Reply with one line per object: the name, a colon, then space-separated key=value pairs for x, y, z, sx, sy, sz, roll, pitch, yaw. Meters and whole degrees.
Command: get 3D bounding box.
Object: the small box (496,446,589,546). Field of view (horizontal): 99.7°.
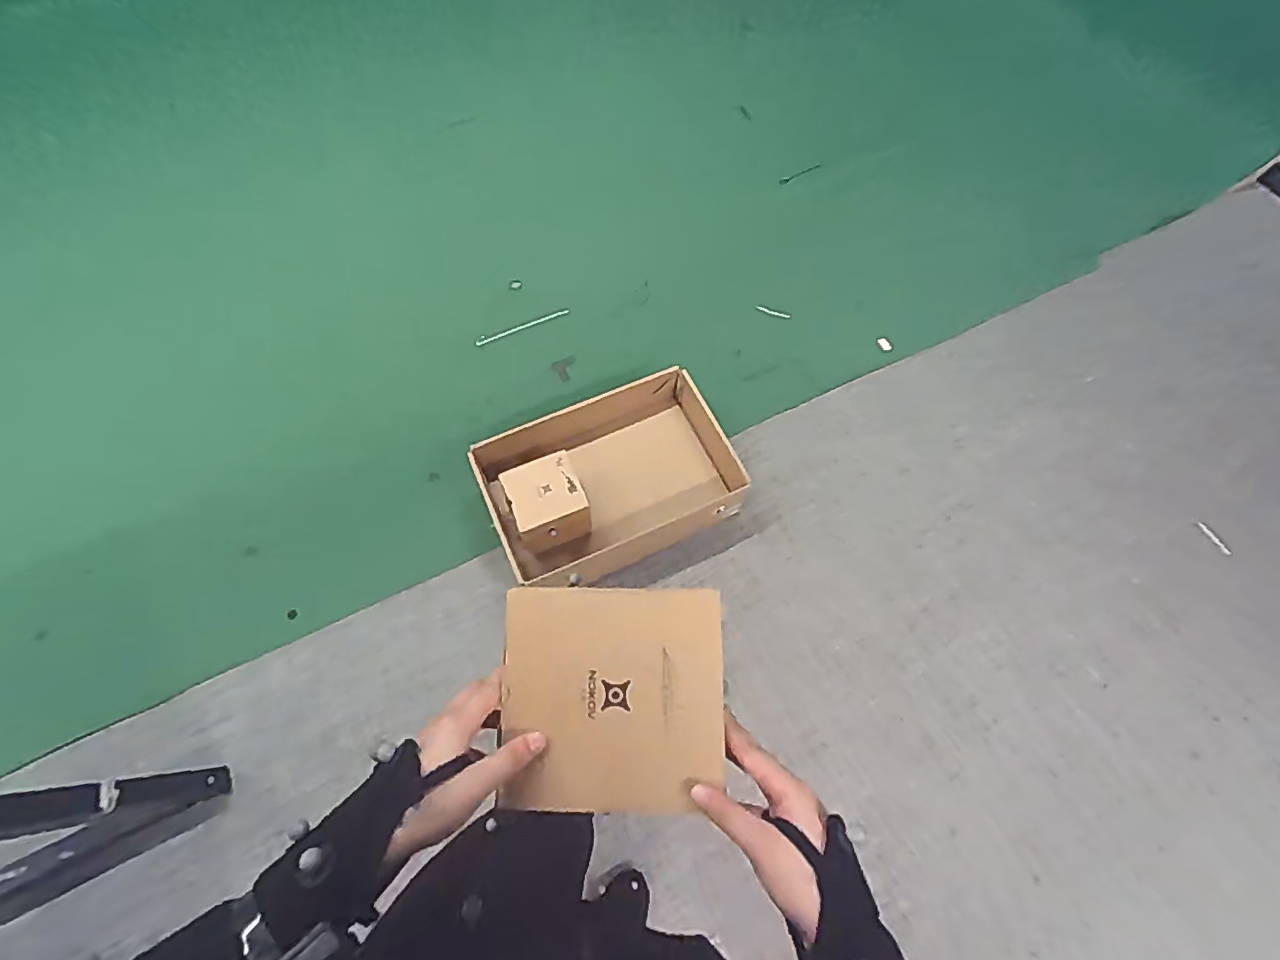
small box: x=-0.237 y=0.047 z=1.356 sx=0.179 sy=0.176 sz=0.168 roll=-22 pitch=70 yaw=-11
